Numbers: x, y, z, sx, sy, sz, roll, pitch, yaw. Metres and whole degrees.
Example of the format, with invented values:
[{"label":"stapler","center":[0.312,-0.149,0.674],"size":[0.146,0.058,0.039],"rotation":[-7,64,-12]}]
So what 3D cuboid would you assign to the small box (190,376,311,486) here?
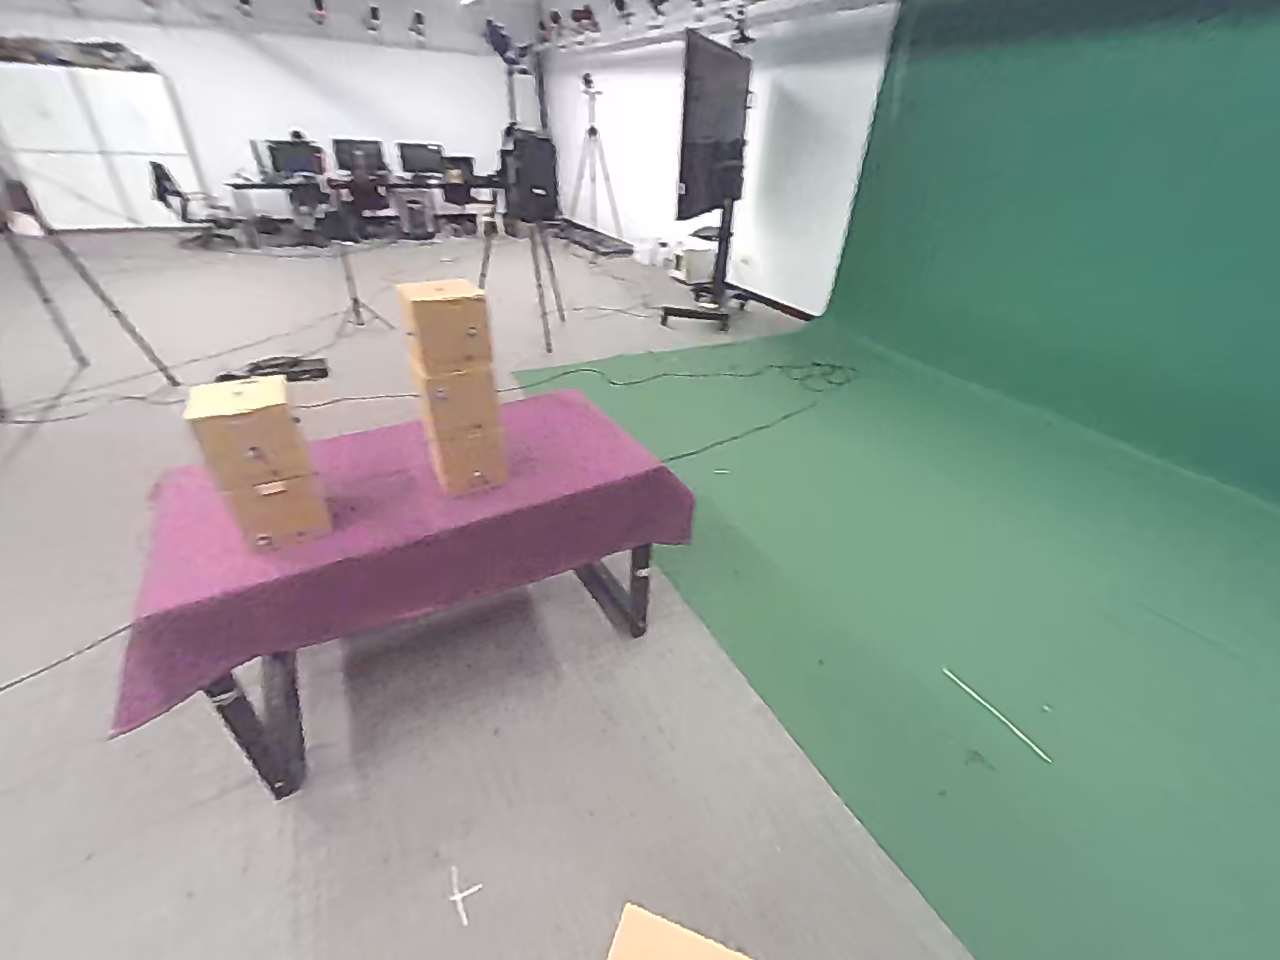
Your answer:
[{"label":"small box","center":[-0.819,-0.101,1.151],"size":[0.168,0.176,0.179],"rotation":[-15,38,-26]}]

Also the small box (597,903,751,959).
[{"label":"small box","center":[0.024,0.497,0.426],"size":[0.168,0.176,0.179],"rotation":[11,33,16]}]

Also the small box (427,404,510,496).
[{"label":"small box","center":[-0.457,-0.083,1.444],"size":[0.168,0.176,0.179],"rotation":[-16,37,-24]}]

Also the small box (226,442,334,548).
[{"label":"small box","center":[-0.821,0.037,1.241],"size":[0.168,0.176,0.179],"rotation":[-17,37,-27]}]

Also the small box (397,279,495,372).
[{"label":"small box","center":[-0.452,-0.361,1.271],"size":[0.168,0.176,0.179],"rotation":[-17,37,-27]}]
